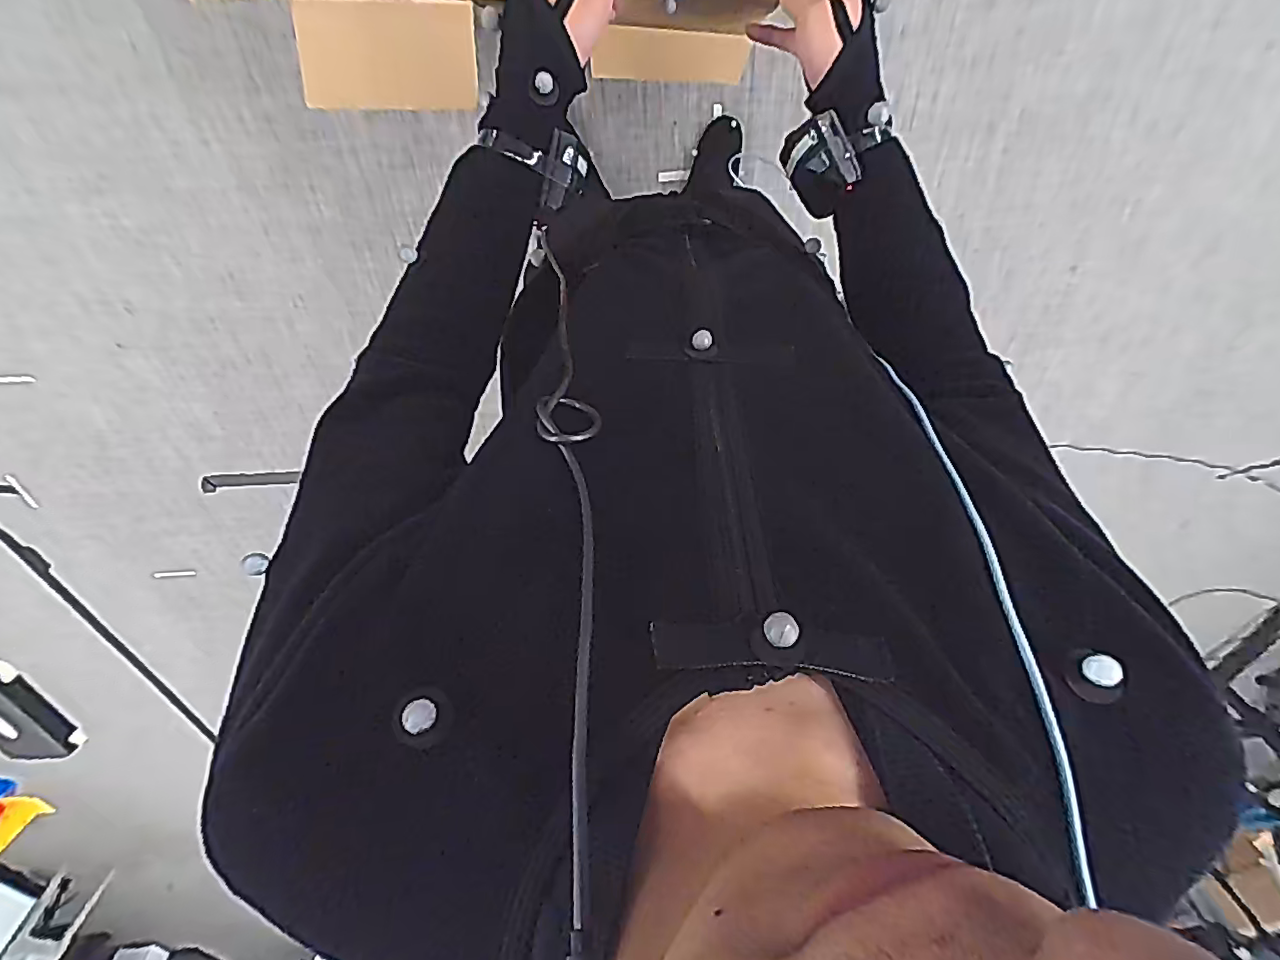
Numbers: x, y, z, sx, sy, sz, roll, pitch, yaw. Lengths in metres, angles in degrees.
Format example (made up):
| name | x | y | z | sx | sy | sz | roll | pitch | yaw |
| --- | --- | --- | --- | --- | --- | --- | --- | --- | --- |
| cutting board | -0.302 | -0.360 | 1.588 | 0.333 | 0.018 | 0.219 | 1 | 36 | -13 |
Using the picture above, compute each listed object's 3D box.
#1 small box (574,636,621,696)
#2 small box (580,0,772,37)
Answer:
| name | x | y | z | sx | sy | sz | roll | pitch | yaw |
| --- | --- | --- | --- | --- | --- | --- | --- | --- | --- |
| small box | -0.167 | 0.755 | 2.203 | 0.179 | 0.176 | 0.168 | -4 | 127 | 0 |
| small box | 0.037 | -0.491 | 0.446 | 0.179 | 0.176 | 0.168 | -1 | 120 | -7 |
